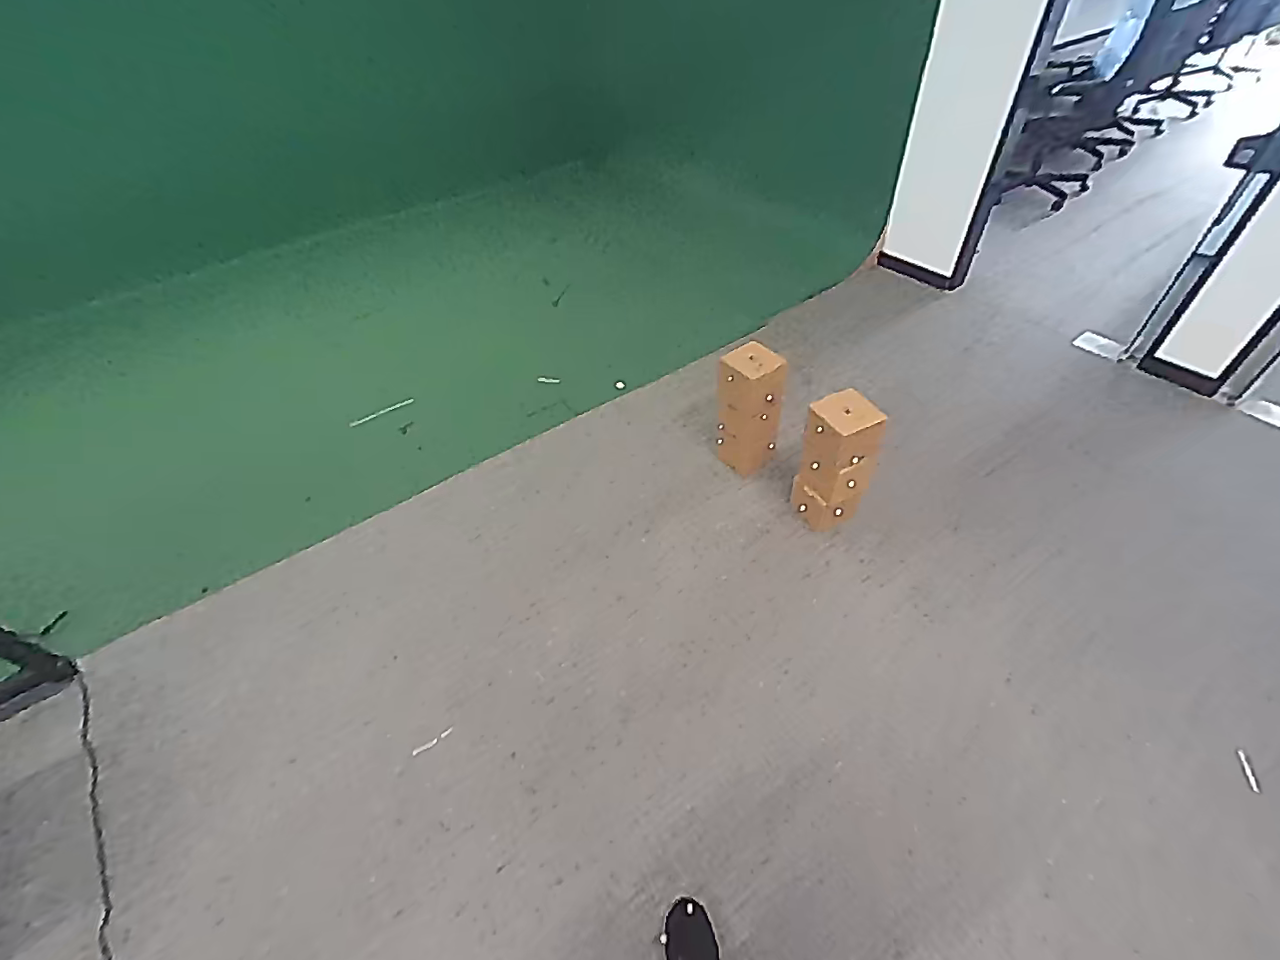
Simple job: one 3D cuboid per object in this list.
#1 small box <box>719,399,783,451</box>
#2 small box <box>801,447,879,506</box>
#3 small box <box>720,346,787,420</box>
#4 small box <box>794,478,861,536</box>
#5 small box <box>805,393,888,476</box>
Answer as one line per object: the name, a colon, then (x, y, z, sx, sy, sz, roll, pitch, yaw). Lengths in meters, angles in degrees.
small box: (0.420, -0.241, 2.060, 0.179, 0.176, 0.168, -30, 51, -21)
small box: (0.671, -0.034, 1.835, 0.168, 0.176, 0.179, -24, 48, -15)
small box: (0.399, -0.345, 1.933, 0.168, 0.176, 0.179, -30, 51, -20)
small box: (0.674, 0.075, 1.957, 0.179, 0.176, 0.168, -24, 49, -13)
small box: (0.645, -0.143, 1.717, 0.168, 0.176, 0.179, -22, 48, -12)
